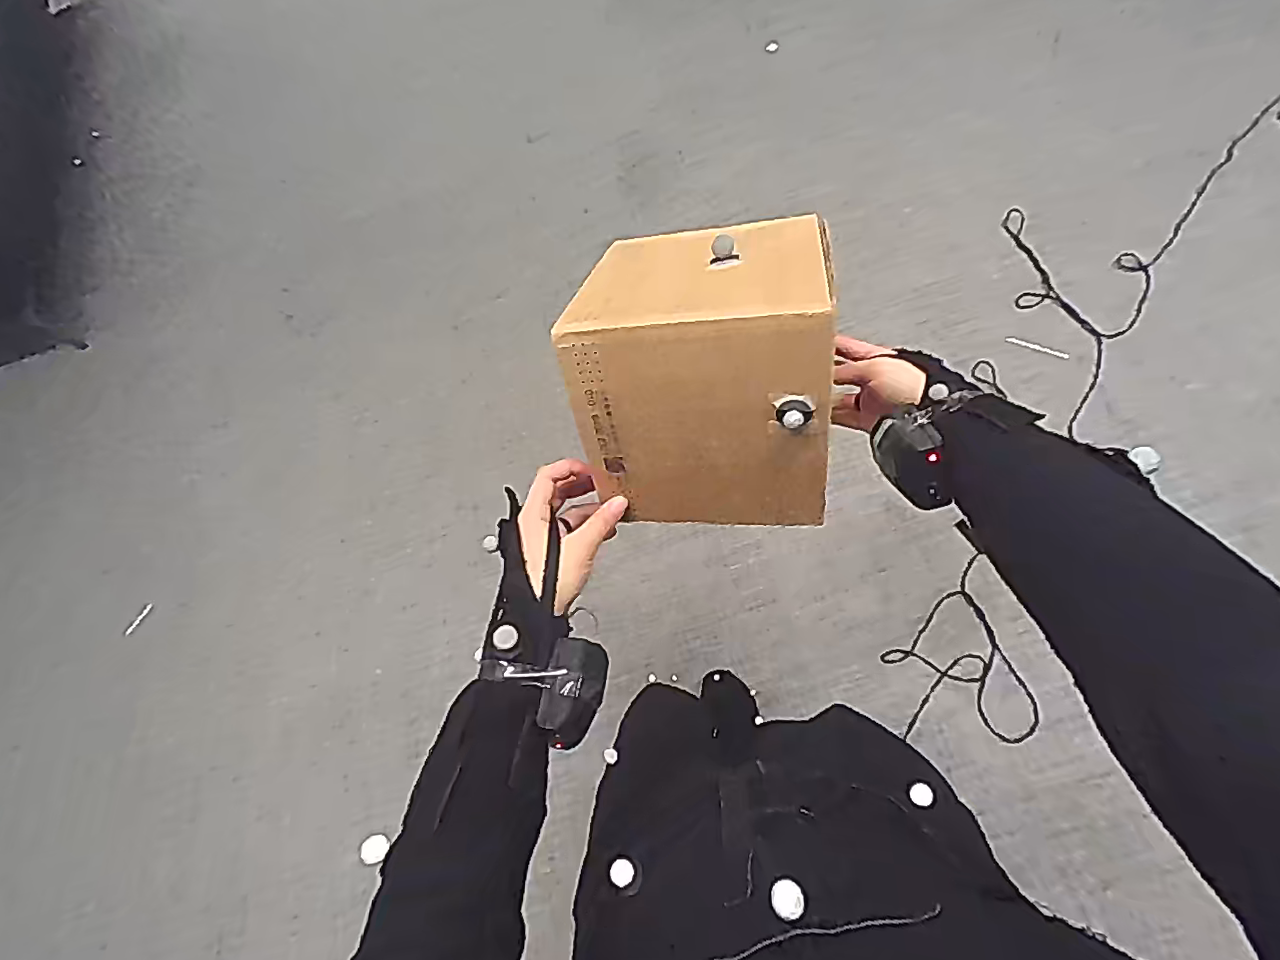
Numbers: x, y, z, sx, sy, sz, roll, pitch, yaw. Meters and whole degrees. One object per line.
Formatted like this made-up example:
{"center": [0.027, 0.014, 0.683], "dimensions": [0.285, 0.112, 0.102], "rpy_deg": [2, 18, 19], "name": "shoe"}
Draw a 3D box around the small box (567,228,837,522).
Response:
{"center": [0.055, -0.085, 0.431], "dimensions": [0.176, 0.168, 0.179], "rpy_deg": [0, 40, 15], "name": "small box"}
